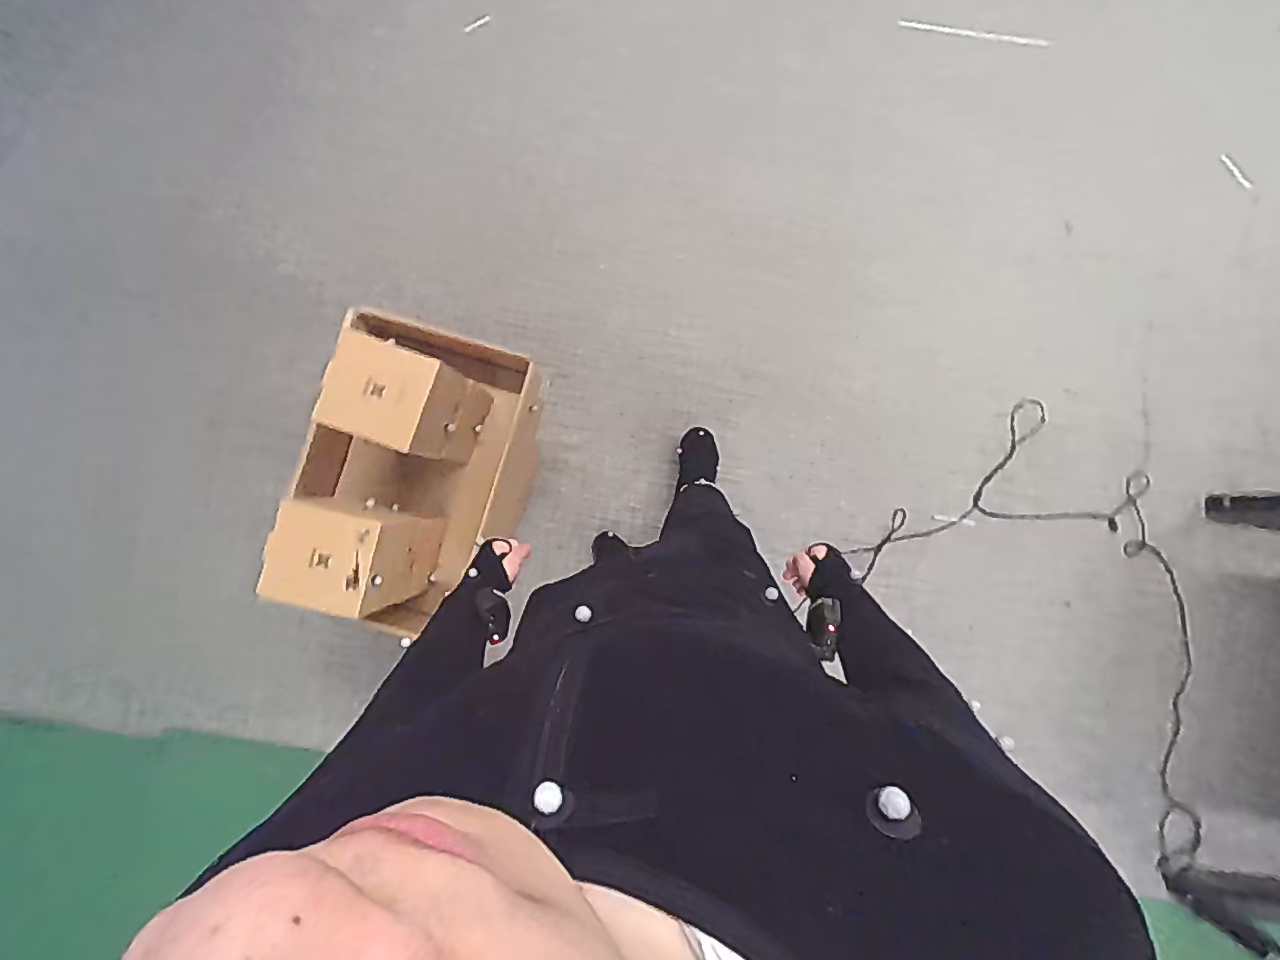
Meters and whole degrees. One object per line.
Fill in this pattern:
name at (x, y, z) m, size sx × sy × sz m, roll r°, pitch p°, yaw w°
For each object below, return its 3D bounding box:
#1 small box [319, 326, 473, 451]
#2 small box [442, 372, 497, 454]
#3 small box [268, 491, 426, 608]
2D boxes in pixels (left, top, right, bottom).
small box at (-0.439, -0.158, 1.001) m, size 0.179 × 0.176 × 0.168 m, roll 20°, pitch 90°, yaw 1°
small box at (-0.436, -0.159, 1.164) m, size 0.179 × 0.176 × 0.168 m, roll 21°, pitch 90°, yaw 1°
small box at (-0.527, 0.120, 0.996) m, size 0.179 × 0.176 × 0.168 m, roll 14°, pitch 90°, yaw 2°
